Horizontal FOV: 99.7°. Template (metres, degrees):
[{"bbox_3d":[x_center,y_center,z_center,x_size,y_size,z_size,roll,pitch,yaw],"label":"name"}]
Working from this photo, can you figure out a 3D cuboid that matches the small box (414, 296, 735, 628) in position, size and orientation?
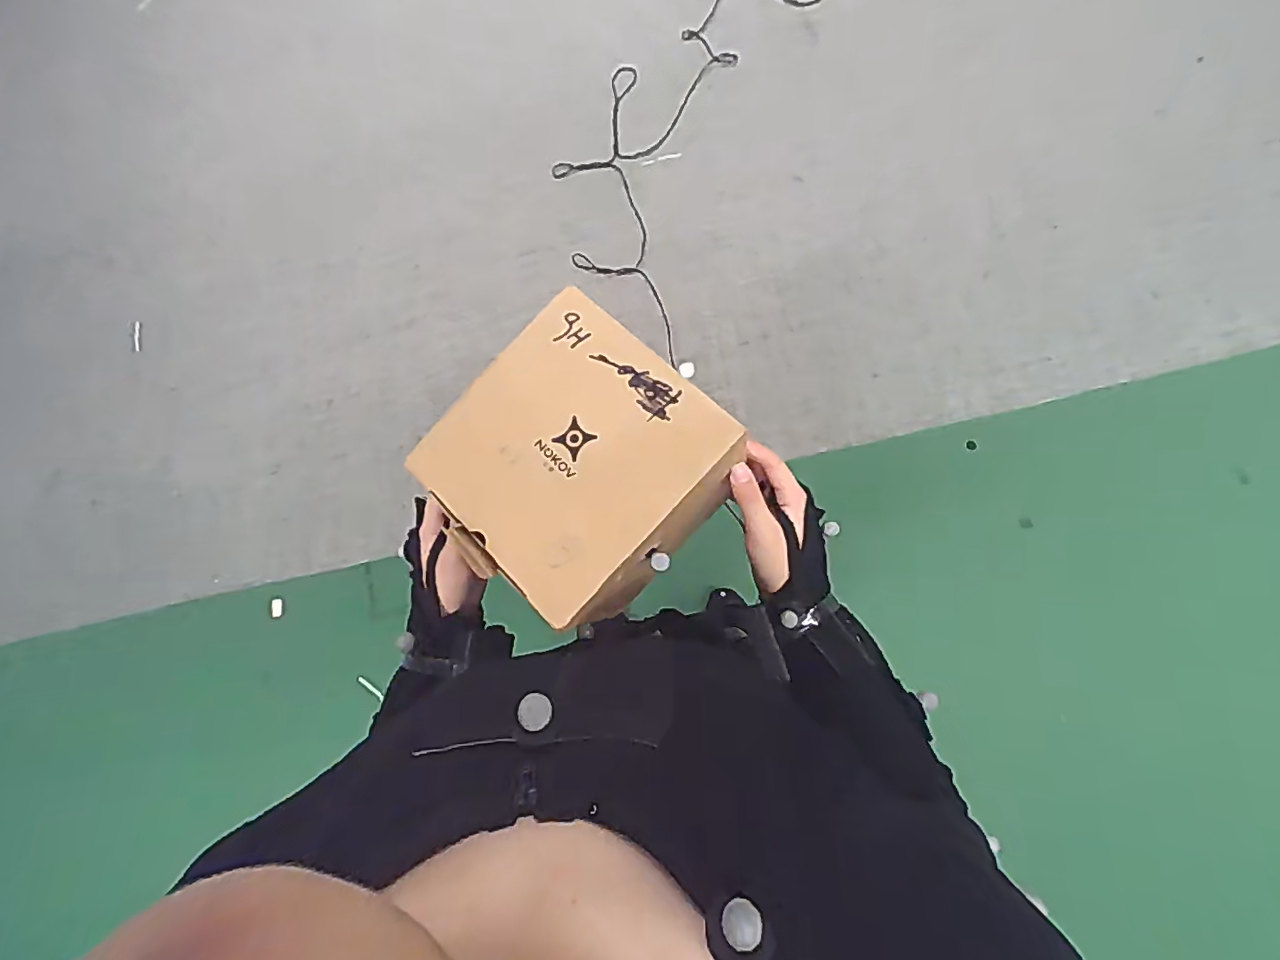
[{"bbox_3d":[-0.034,-0.004,0.445,0.168,0.176,0.179,42,90,15],"label":"small box"}]
